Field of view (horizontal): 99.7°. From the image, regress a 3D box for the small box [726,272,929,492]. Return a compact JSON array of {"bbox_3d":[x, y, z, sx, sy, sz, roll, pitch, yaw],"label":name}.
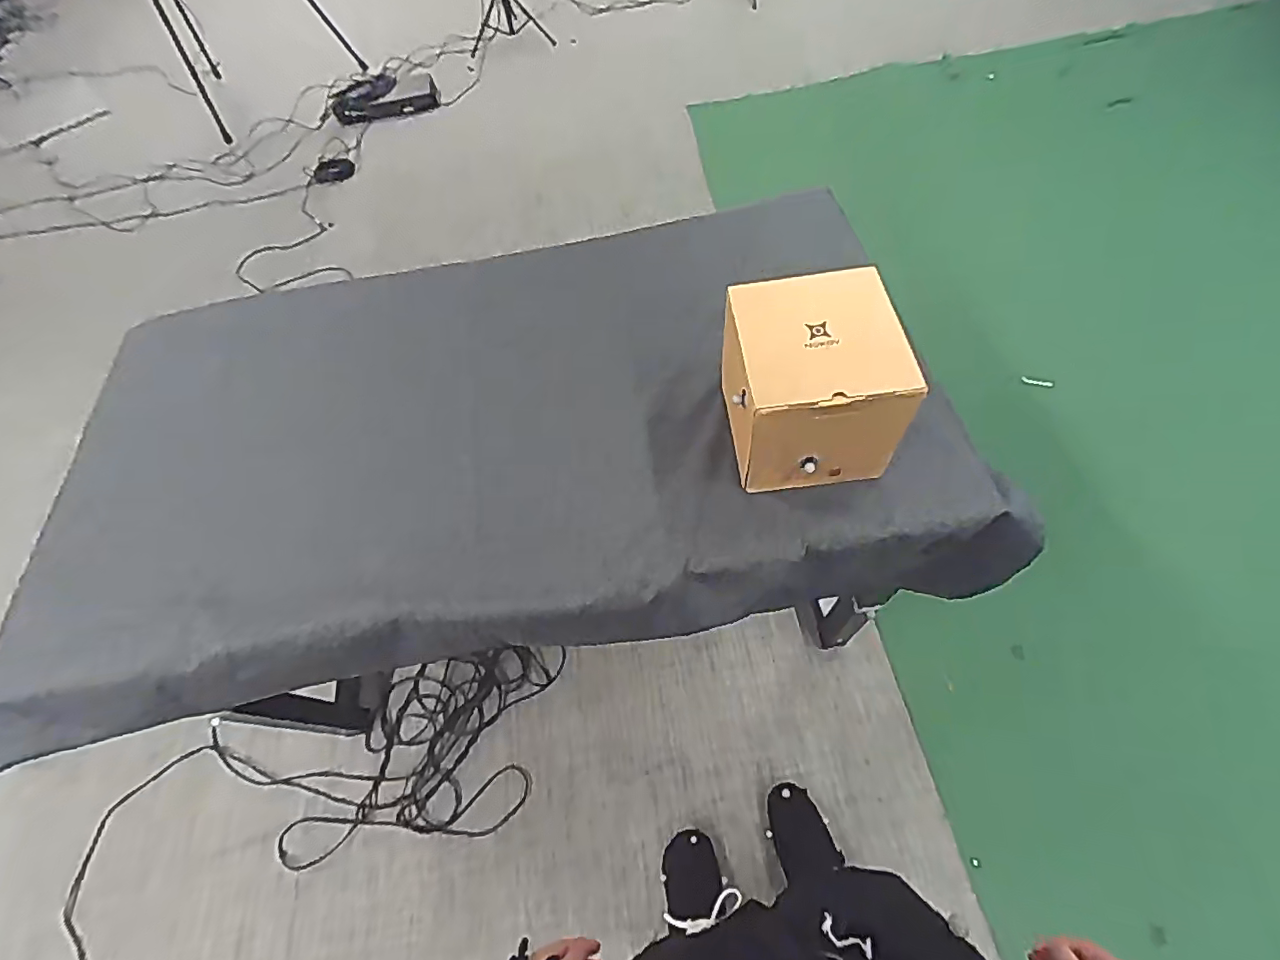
[{"bbox_3d":[0.195,-0.107,0.625,0.168,0.176,0.179,-7,60,3],"label":"small box"}]
